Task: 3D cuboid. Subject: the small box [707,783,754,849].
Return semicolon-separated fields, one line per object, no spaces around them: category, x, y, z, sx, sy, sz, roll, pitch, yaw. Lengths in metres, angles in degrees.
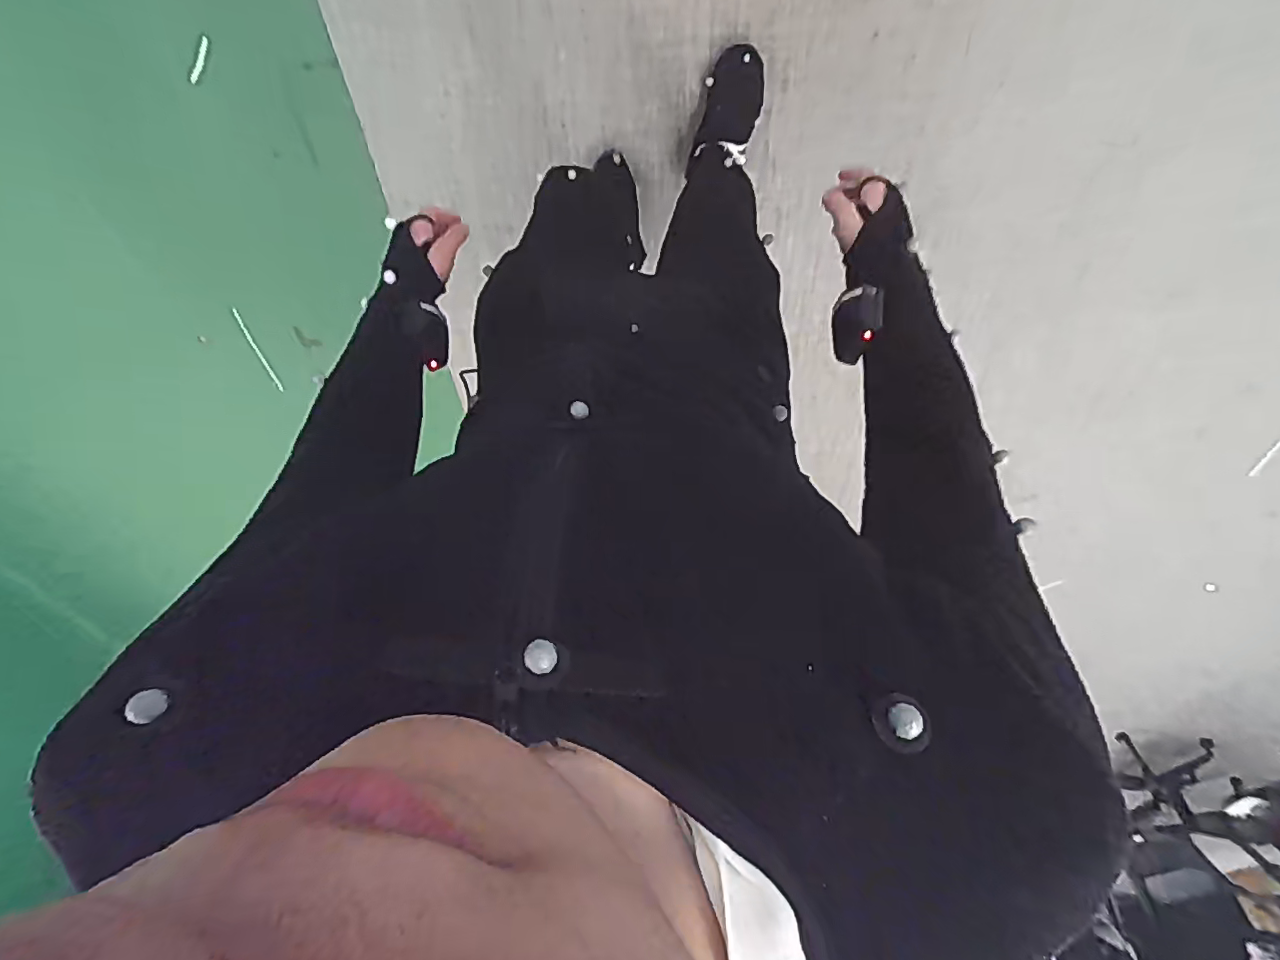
small box;0.339;1.261;2.036;0.168;0.176;0.179;2;134;8
